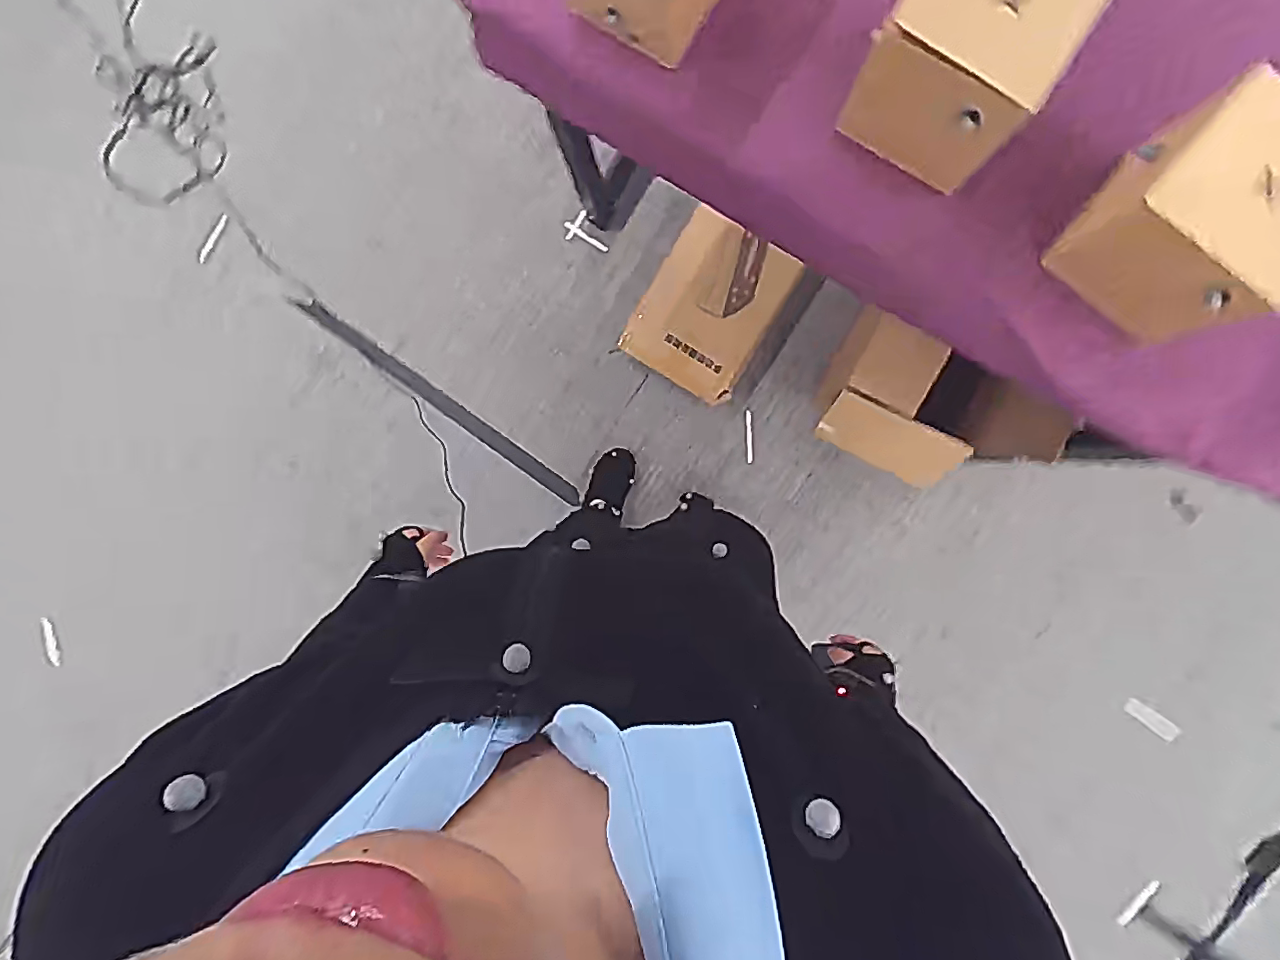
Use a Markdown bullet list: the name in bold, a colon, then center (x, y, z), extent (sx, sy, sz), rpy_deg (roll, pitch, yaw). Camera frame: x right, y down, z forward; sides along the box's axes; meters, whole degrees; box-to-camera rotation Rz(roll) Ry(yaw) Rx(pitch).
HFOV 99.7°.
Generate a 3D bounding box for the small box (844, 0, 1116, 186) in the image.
- **small box**: center (0.370, -0.475, 0.616), extent (0.179, 0.176, 0.168), rpy_deg (33, 92, 3)

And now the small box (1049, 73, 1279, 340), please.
- **small box**: center (0.623, -0.282, 0.604), extent (0.179, 0.176, 0.168), rpy_deg (40, 95, 2)
